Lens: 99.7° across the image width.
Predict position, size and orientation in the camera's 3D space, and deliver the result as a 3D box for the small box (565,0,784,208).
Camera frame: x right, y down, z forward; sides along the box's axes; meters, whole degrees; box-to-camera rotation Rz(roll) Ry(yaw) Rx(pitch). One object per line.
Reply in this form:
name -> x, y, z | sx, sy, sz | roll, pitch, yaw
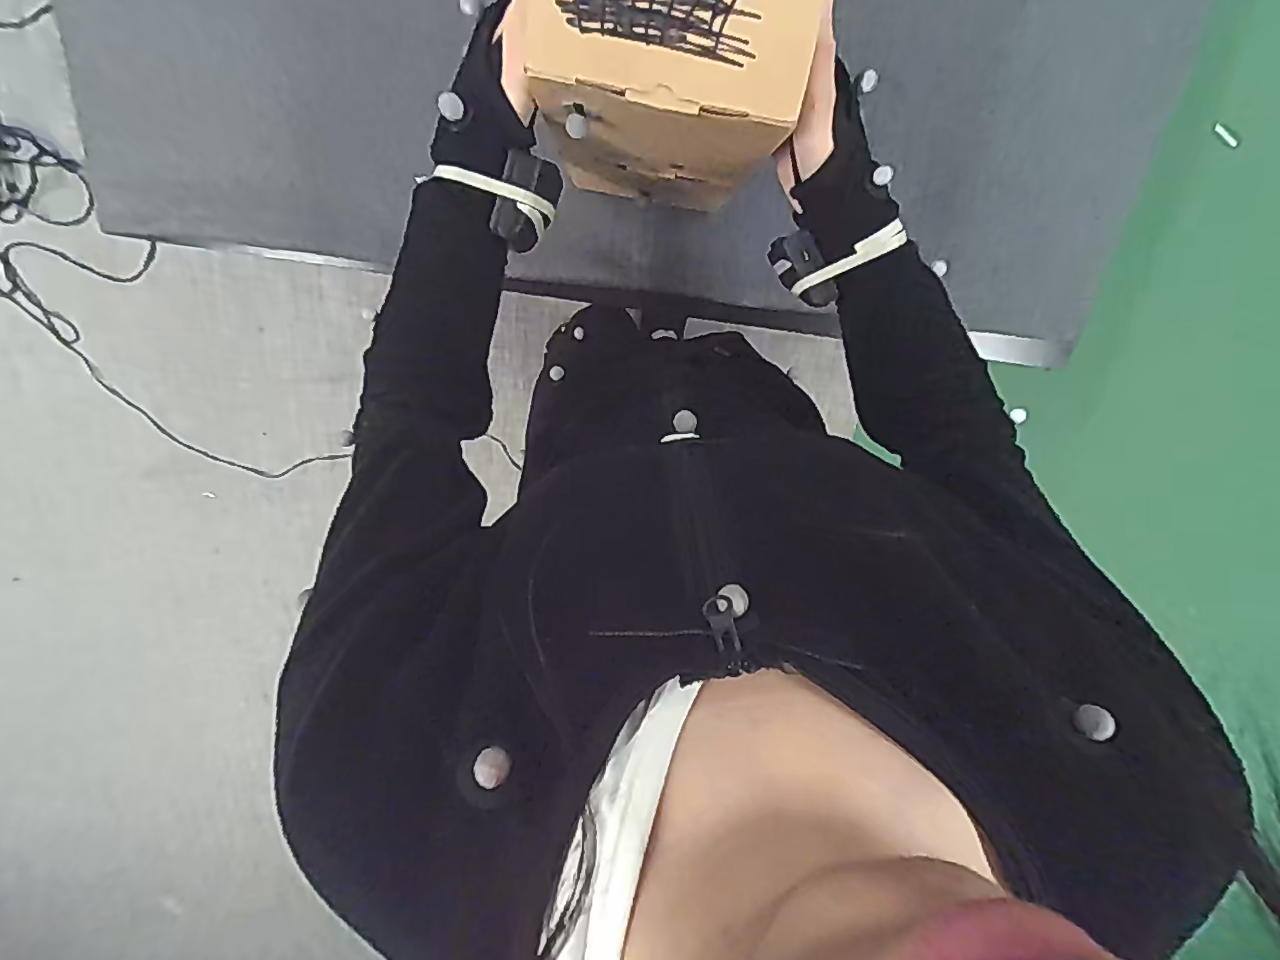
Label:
small box -> 0.026, -0.381, 0.520 | 0.168, 0.176, 0.179 | 8, 109, -4
